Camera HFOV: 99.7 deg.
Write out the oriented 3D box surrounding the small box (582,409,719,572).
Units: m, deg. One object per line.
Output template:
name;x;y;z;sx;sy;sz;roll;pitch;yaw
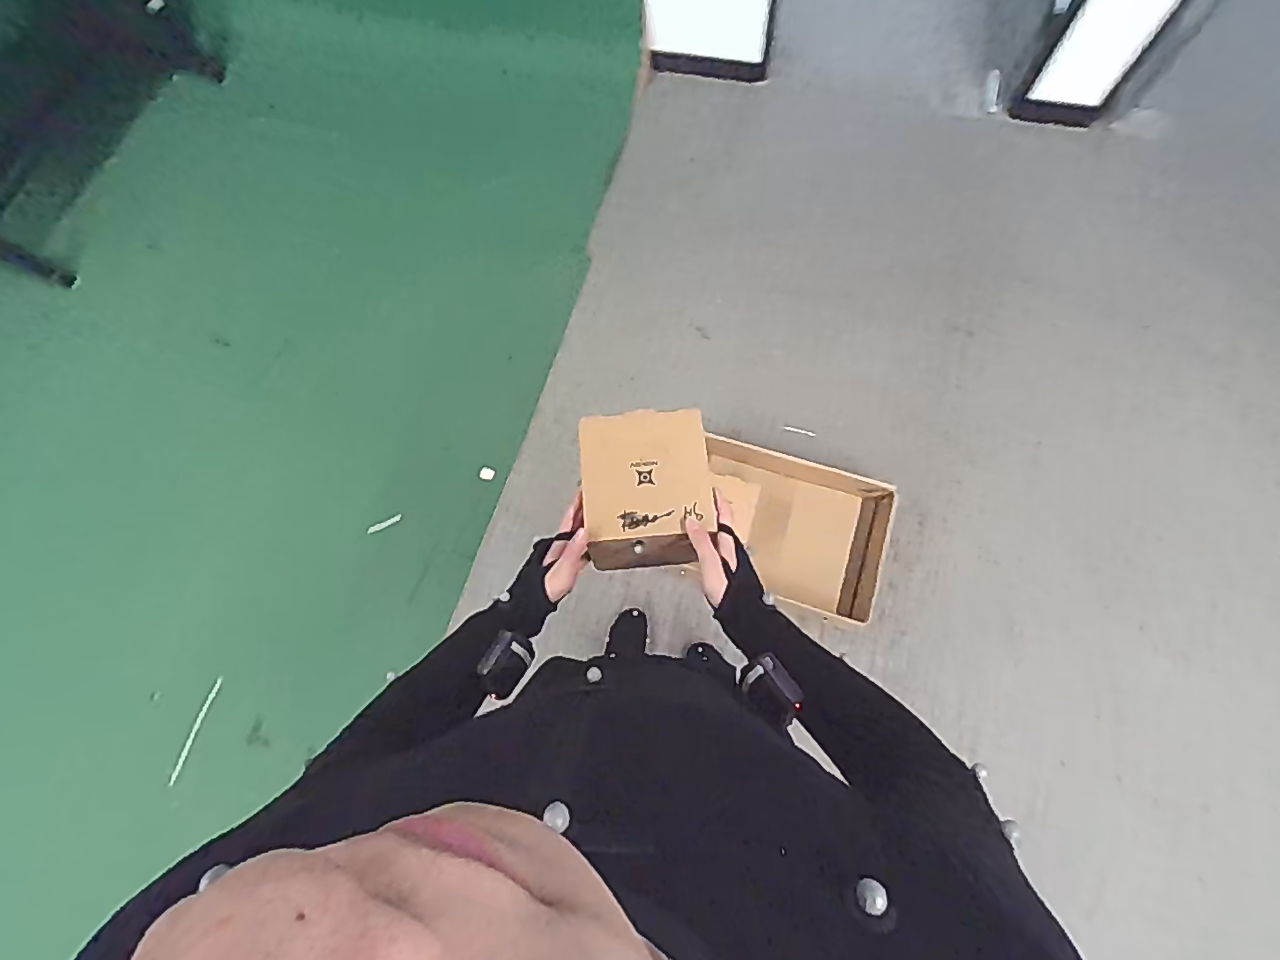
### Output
small box;0.009;0.020;0.762;0.168;0.176;0.179;-5;68;-2
